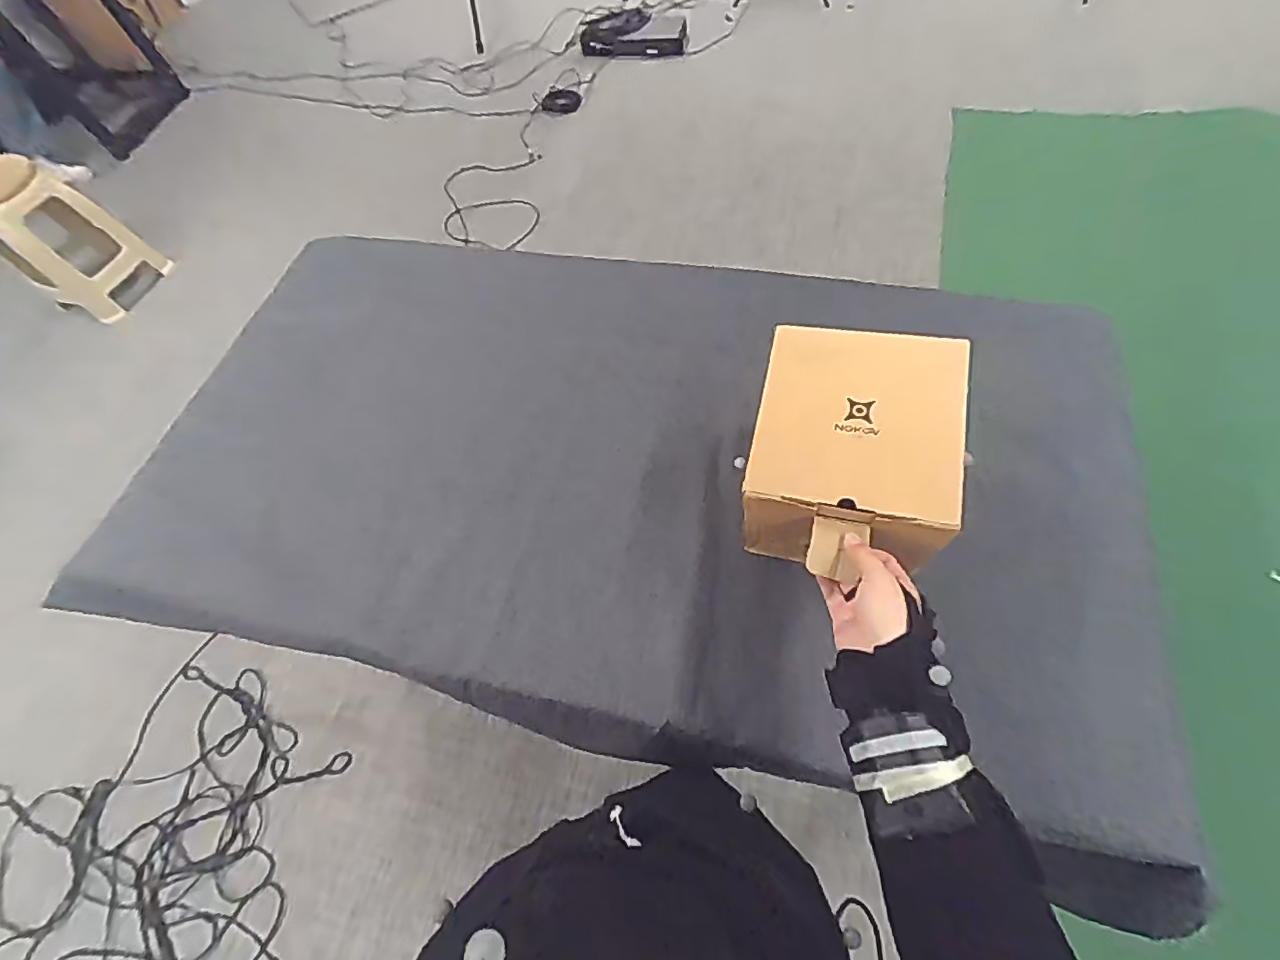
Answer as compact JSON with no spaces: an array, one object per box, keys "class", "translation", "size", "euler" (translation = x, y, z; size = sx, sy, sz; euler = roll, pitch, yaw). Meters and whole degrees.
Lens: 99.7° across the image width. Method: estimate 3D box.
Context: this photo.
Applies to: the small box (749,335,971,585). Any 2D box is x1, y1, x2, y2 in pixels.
[{"class":"small box","translation":[0.201,-0.013,0.529],"size":[0.168,0.176,0.179],"euler":[9,69,15]}]
